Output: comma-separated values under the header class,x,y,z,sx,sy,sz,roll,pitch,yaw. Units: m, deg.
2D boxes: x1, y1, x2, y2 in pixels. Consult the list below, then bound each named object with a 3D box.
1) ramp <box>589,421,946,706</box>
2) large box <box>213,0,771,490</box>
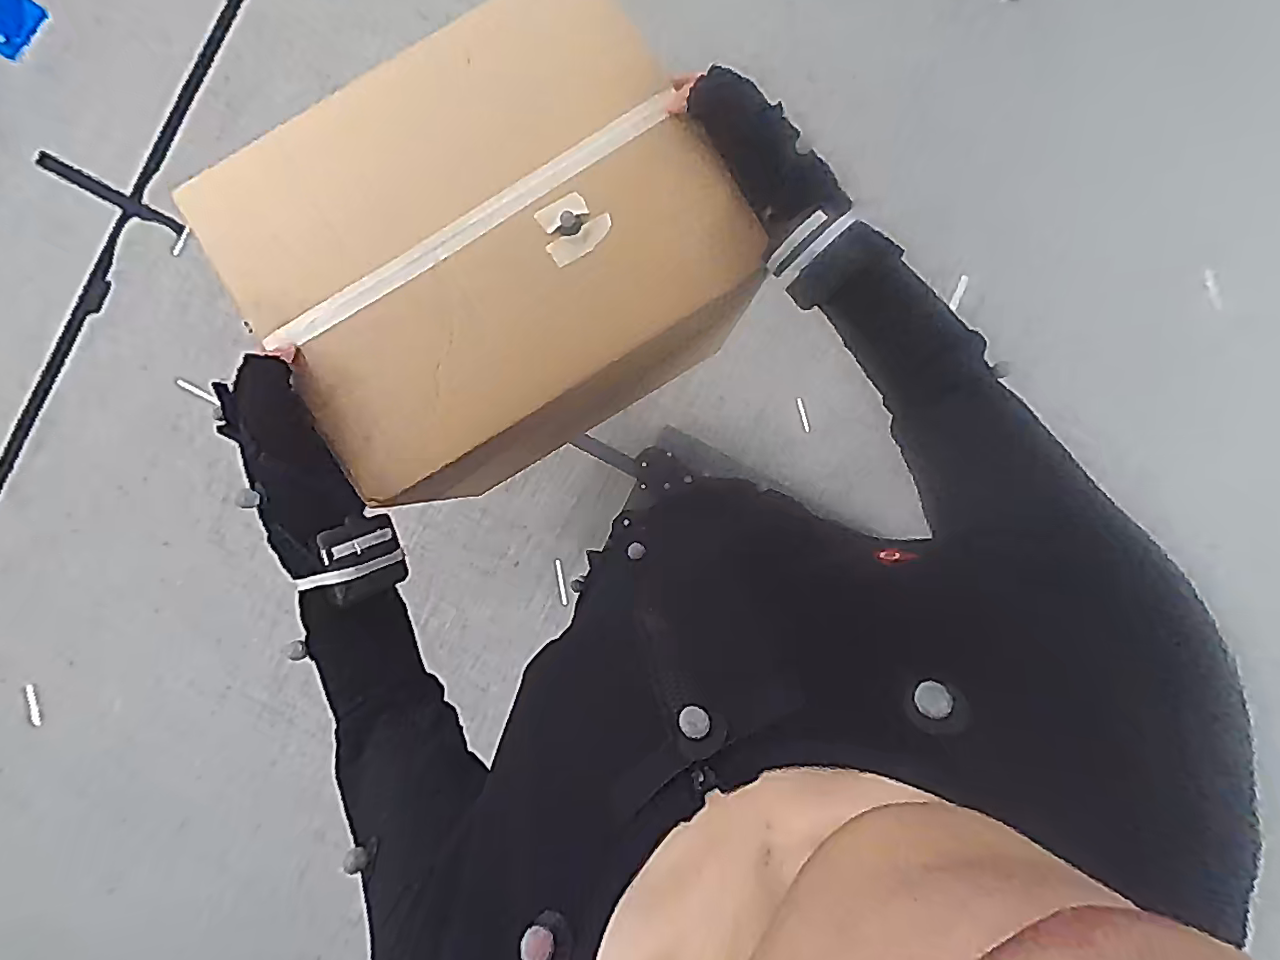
class,x,y,z,sx,sy,sz,roll,pitch,yaw
ramp,0.399,0.261,1.574,0.991,0.206,0.509,24,88,1
large box,-0.130,-0.219,0.618,0.408,0.320,0.320,-31,90,-1
